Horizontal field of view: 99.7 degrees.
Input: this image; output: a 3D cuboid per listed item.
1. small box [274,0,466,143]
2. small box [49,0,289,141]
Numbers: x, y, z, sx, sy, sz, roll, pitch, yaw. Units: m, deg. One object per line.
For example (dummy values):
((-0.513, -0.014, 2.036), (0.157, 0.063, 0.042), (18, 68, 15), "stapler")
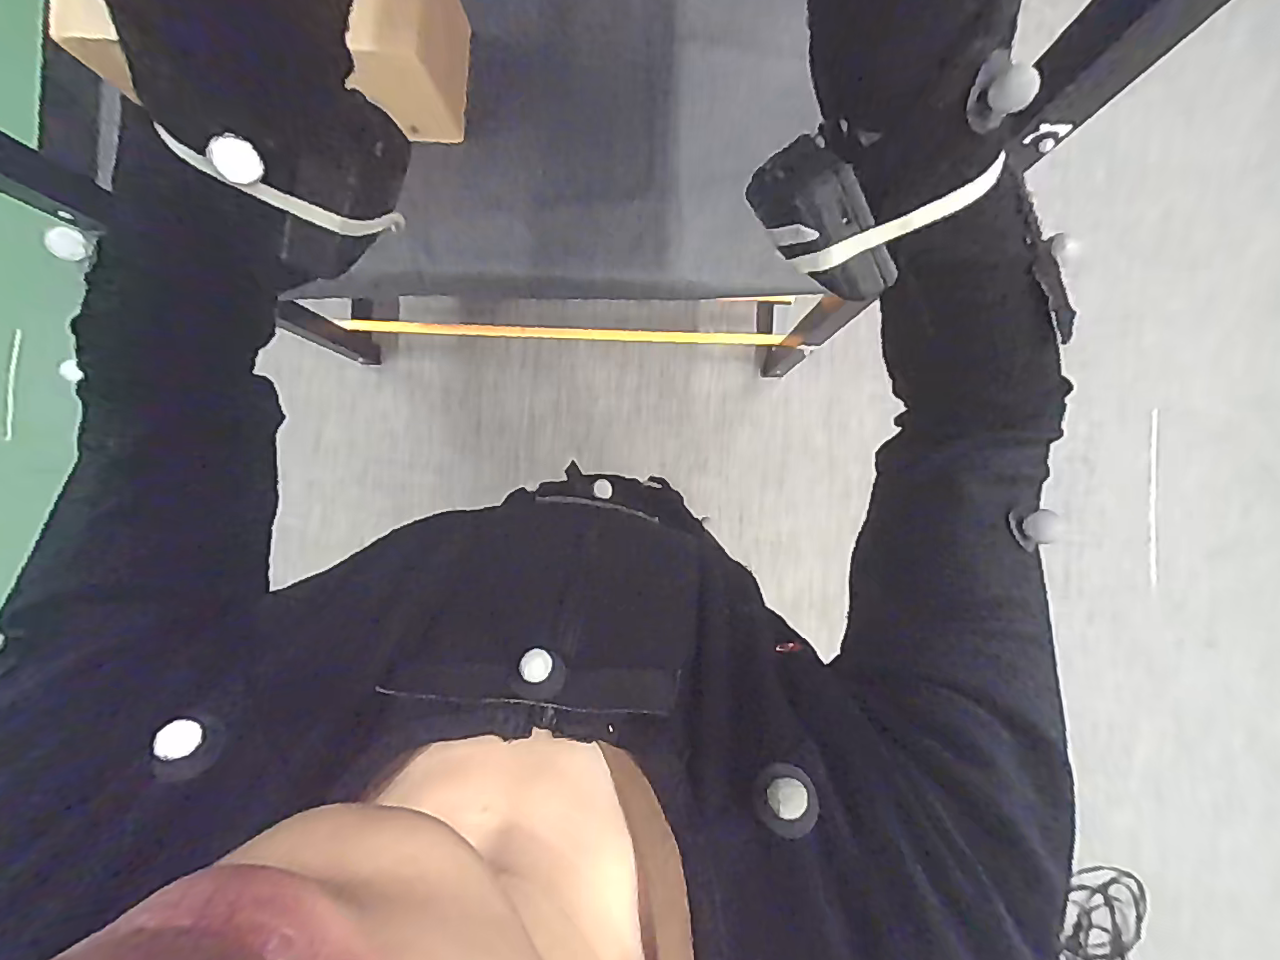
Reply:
((-0.335, -0.573, 0.702), (0.168, 0.176, 0.179), (3, 88, 0), "small box")
((-0.588, -0.582, 0.700), (0.168, 0.176, 0.179), (3, 89, 0), "small box")
